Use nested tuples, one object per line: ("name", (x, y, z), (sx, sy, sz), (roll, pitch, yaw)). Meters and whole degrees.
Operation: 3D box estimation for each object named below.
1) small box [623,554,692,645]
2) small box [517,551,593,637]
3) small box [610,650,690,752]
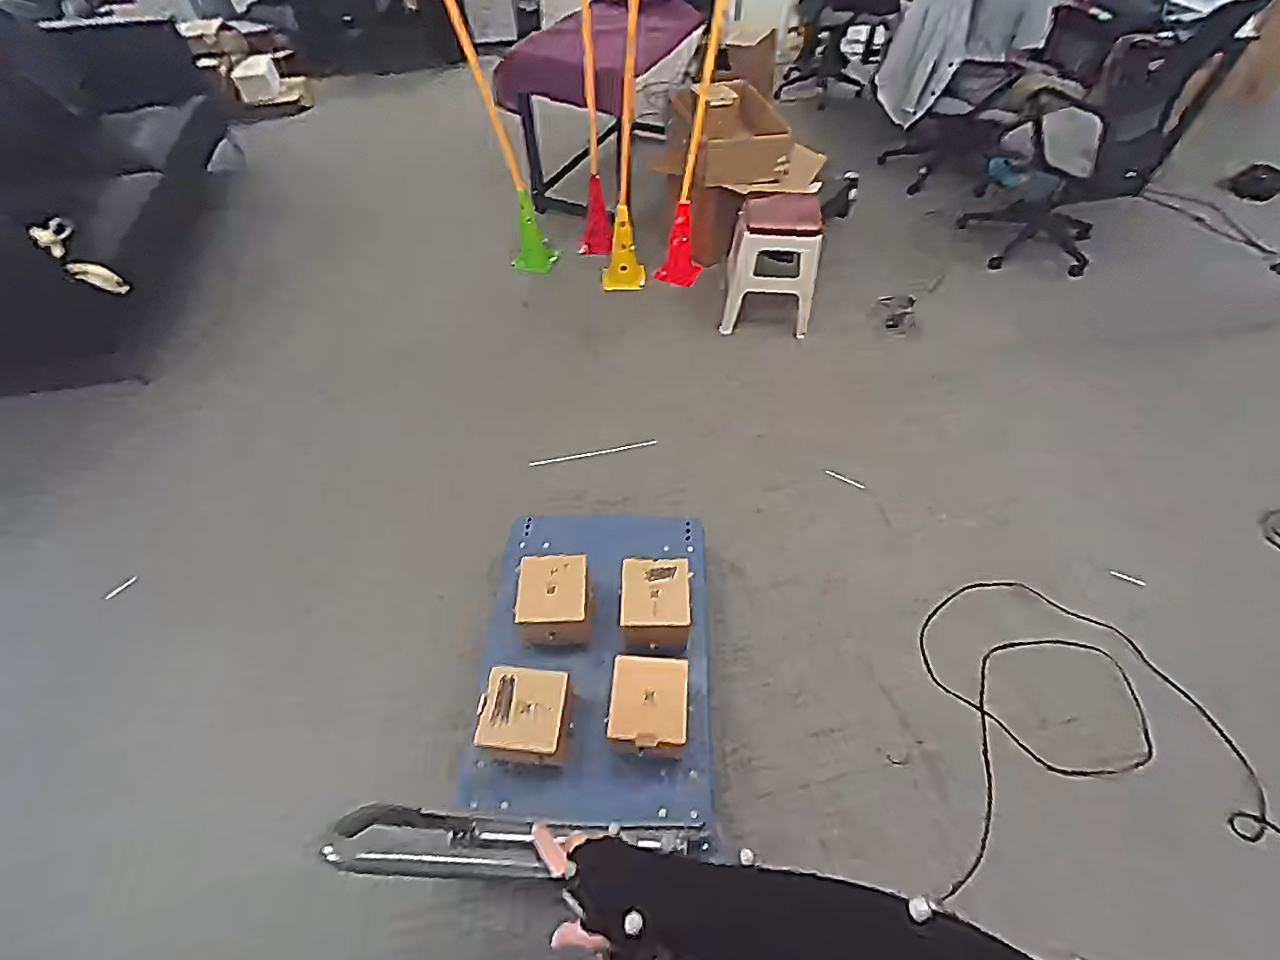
("small box", (0.043, 0.306, 1.381), (0.168, 0.176, 0.179), (0, 55, 2))
("small box", (-0.211, 0.299, 1.391), (0.168, 0.176, 0.179), (-1, 54, -1))
("small box", (0.025, 0.509, 1.240), (0.168, 0.176, 0.179), (3, 56, 3))
